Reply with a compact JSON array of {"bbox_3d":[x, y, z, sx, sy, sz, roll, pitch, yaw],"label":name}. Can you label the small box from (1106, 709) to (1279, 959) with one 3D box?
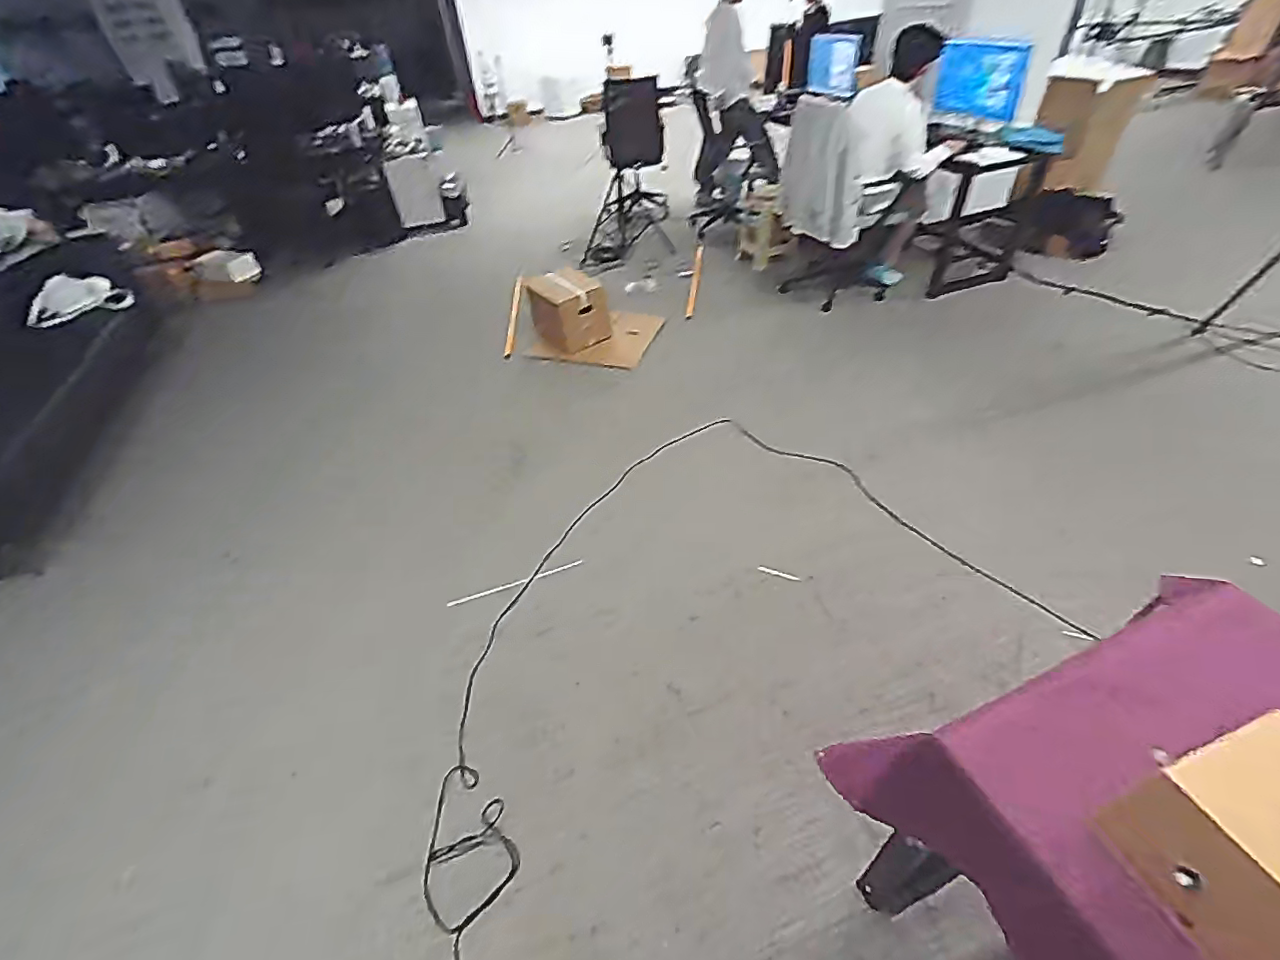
[{"bbox_3d":[0.638,0.372,0.554,0.179,0.176,0.168,-16,44,-11],"label":"small box"}]
